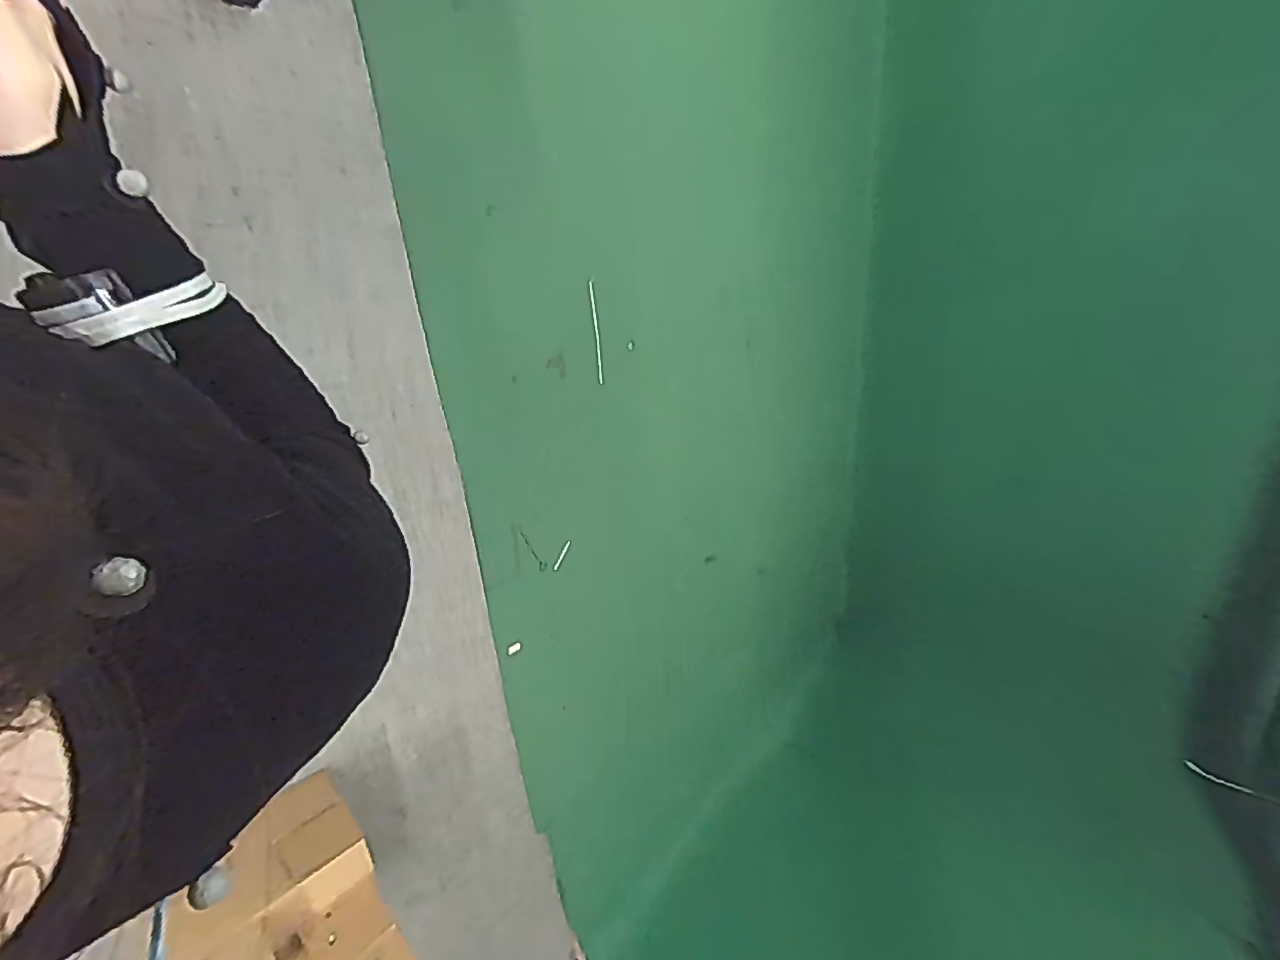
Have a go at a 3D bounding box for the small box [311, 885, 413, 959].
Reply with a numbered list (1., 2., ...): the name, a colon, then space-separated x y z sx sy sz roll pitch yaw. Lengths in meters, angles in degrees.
1. small box: -0.649 1.115 1.278 0.168 0.176 0.179 -22 118 -43

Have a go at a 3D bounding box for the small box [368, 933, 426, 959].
1. small box: -0.532 1.151 1.170 0.168 0.176 0.179 -22 115 -43

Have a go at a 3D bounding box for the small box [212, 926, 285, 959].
1. small box: -0.800 1.071 1.091 0.168 0.176 0.179 -19 116 -44
